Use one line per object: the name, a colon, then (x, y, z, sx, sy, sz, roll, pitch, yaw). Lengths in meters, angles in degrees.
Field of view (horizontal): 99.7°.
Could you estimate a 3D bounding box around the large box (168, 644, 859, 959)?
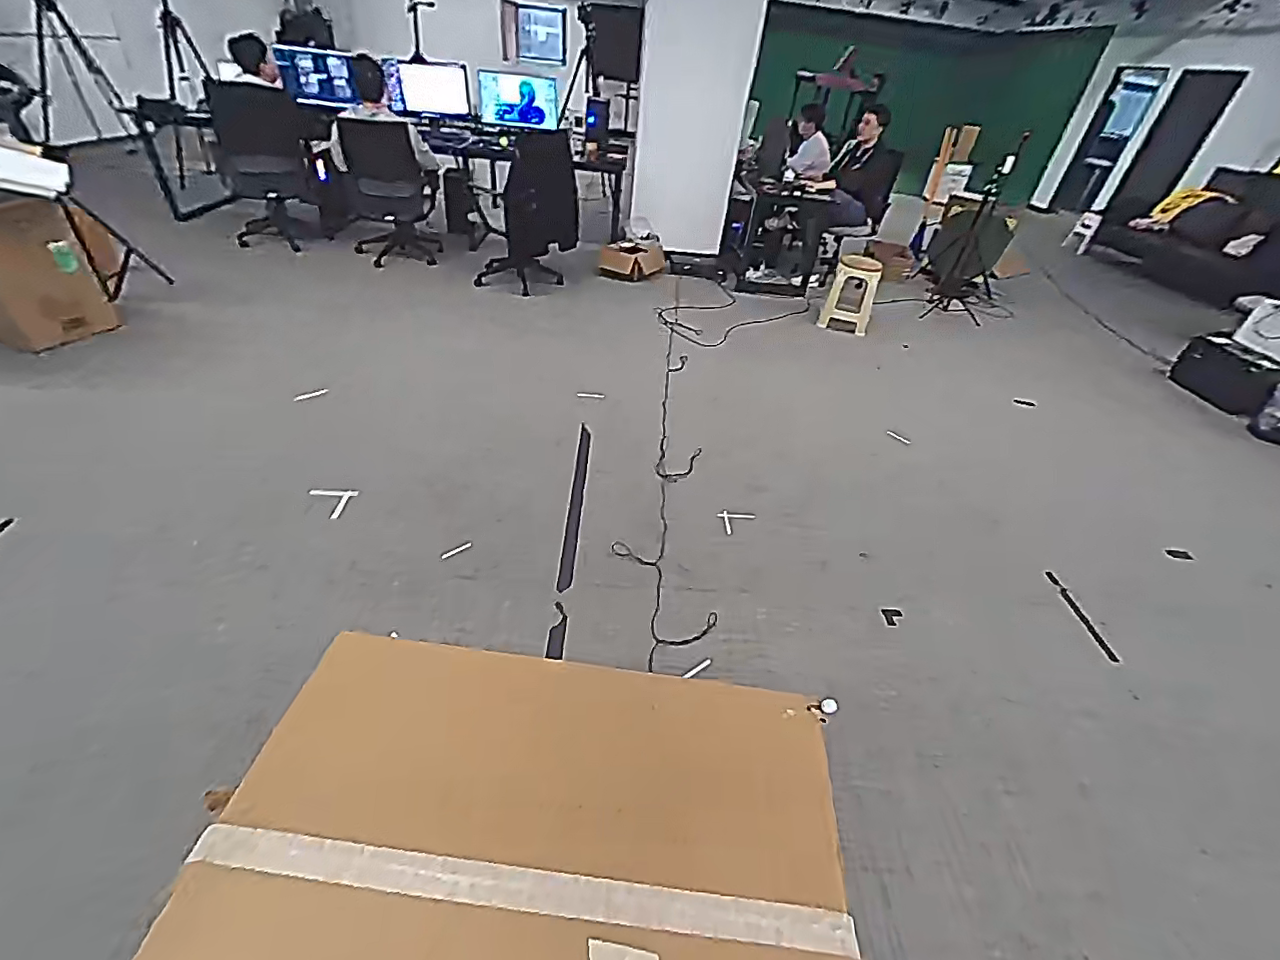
large box: (-0.076, 0.371, 0.436, 0.408, 0.320, 0.320, 8, 41, 1)
